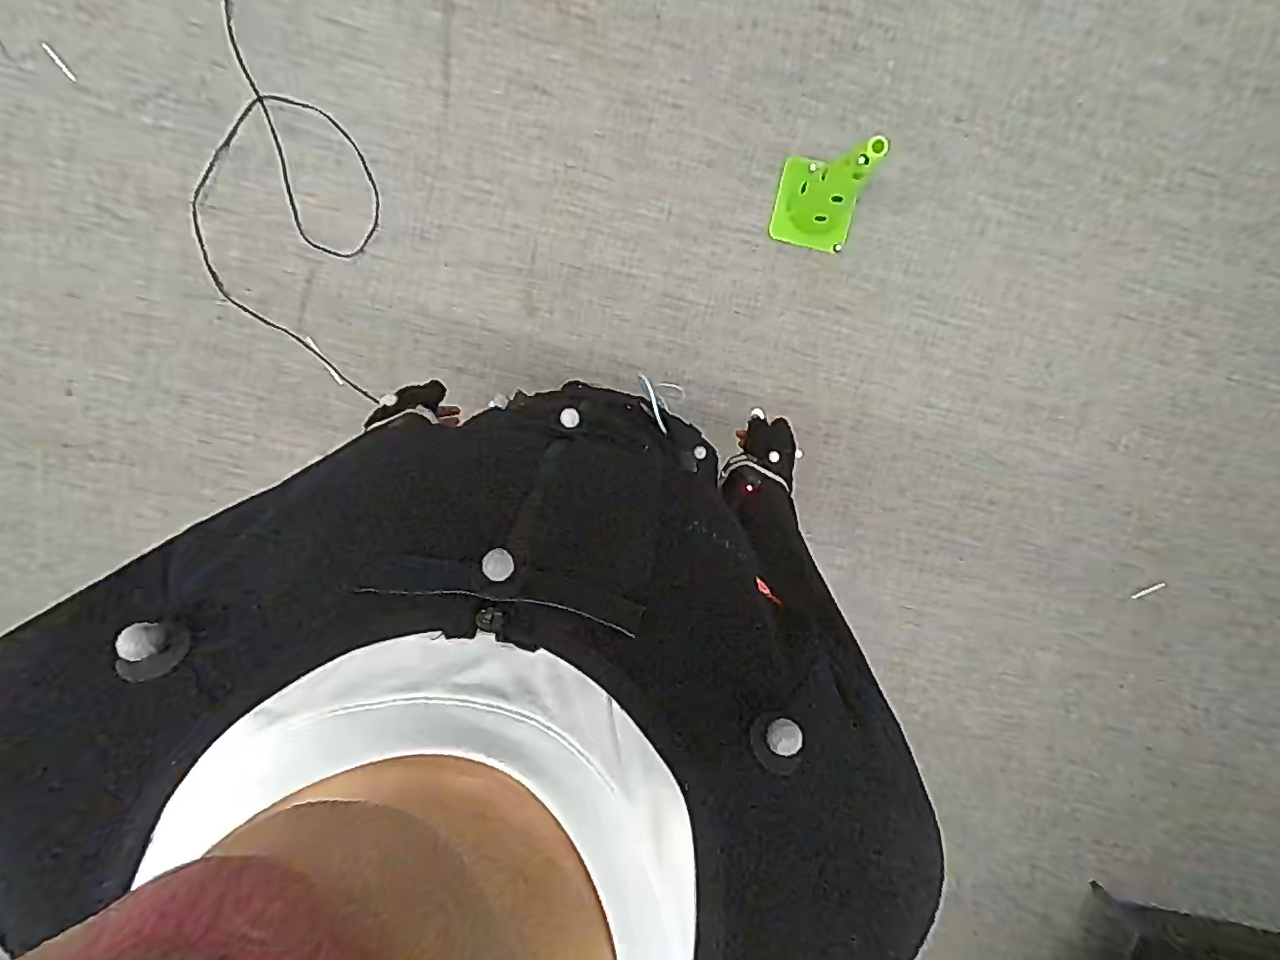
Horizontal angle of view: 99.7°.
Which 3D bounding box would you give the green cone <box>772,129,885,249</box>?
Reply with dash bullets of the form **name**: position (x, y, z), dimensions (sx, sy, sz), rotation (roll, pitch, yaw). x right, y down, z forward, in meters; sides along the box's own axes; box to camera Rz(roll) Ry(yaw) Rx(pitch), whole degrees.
- **green cone**: position (0.450, -0.676, 1.199), dimensions (0.202, 0.368, 0.200), rotation (12, 99, -2)
